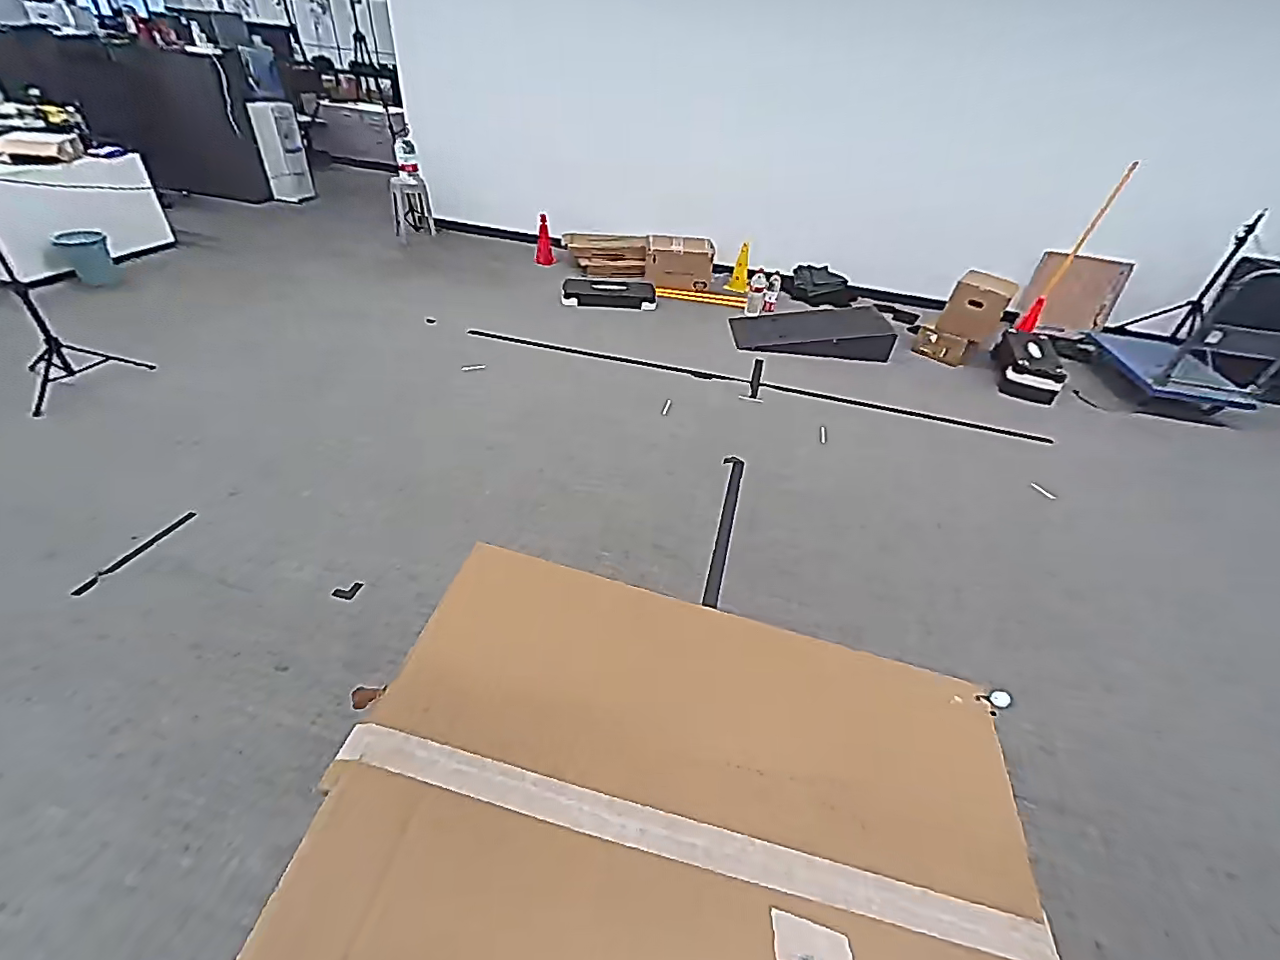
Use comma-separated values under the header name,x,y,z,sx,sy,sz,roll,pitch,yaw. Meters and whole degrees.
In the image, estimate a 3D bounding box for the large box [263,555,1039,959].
name,x,y,z,sx,sy,sz,roll,pitch,yaw
large box,0.008,0.314,0.421,0.408,0.320,0.320,16,45,2
